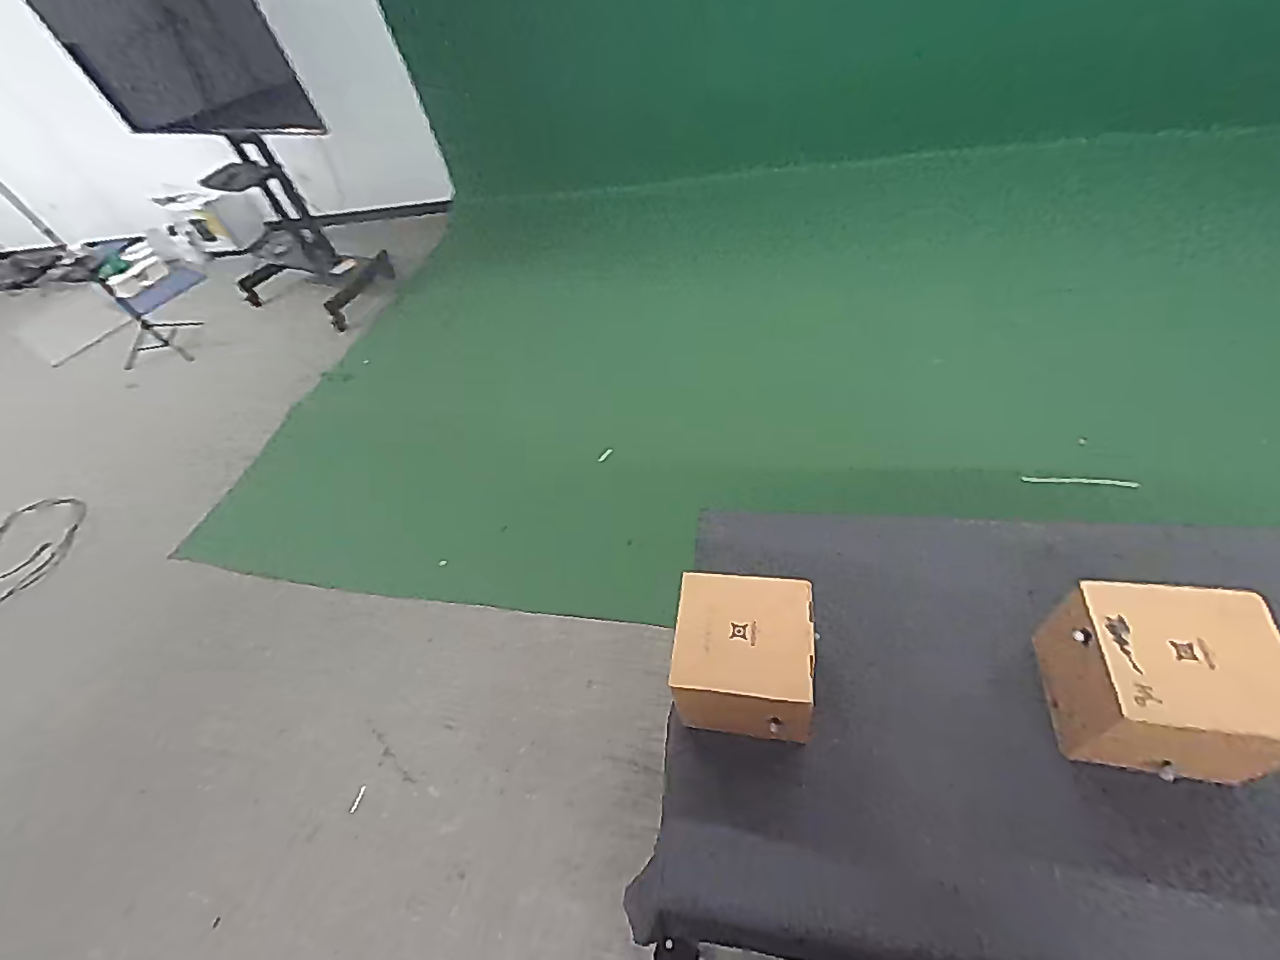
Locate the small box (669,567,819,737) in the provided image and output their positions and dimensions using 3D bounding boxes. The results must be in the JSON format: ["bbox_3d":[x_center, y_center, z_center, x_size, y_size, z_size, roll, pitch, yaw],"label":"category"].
[{"bbox_3d":[0.143,0.239,0.744,0.179,0.176,0.168,1,49,12],"label":"small box"}]

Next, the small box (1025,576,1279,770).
[{"bbox_3d":[0.617,0.238,0.659,0.179,0.176,0.168,4,51,12],"label":"small box"}]
